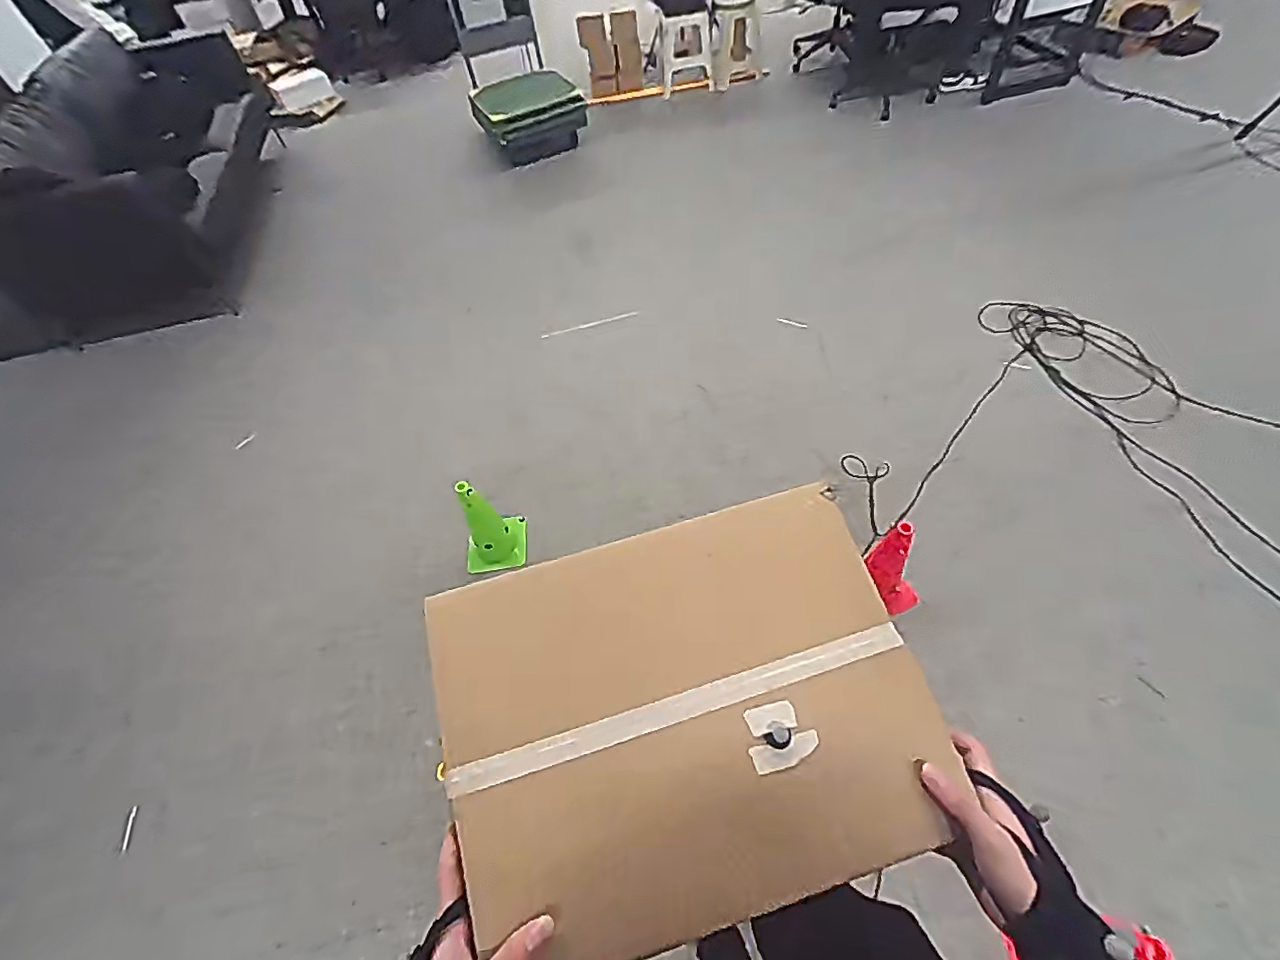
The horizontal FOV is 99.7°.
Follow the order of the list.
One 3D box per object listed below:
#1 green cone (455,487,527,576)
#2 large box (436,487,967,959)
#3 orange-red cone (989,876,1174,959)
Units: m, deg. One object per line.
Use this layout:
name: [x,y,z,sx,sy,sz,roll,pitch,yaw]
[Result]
green cone: [-0.511,0.134,1.734,0.200,0.368,0.202,-10,55,1]
large box: [0.038,0.255,0.613,0.408,0.320,0.320,-16,68,-7]
orange-red cone: [0.868,0.883,1.022,0.199,0.360,0.198,-8,55,0]
